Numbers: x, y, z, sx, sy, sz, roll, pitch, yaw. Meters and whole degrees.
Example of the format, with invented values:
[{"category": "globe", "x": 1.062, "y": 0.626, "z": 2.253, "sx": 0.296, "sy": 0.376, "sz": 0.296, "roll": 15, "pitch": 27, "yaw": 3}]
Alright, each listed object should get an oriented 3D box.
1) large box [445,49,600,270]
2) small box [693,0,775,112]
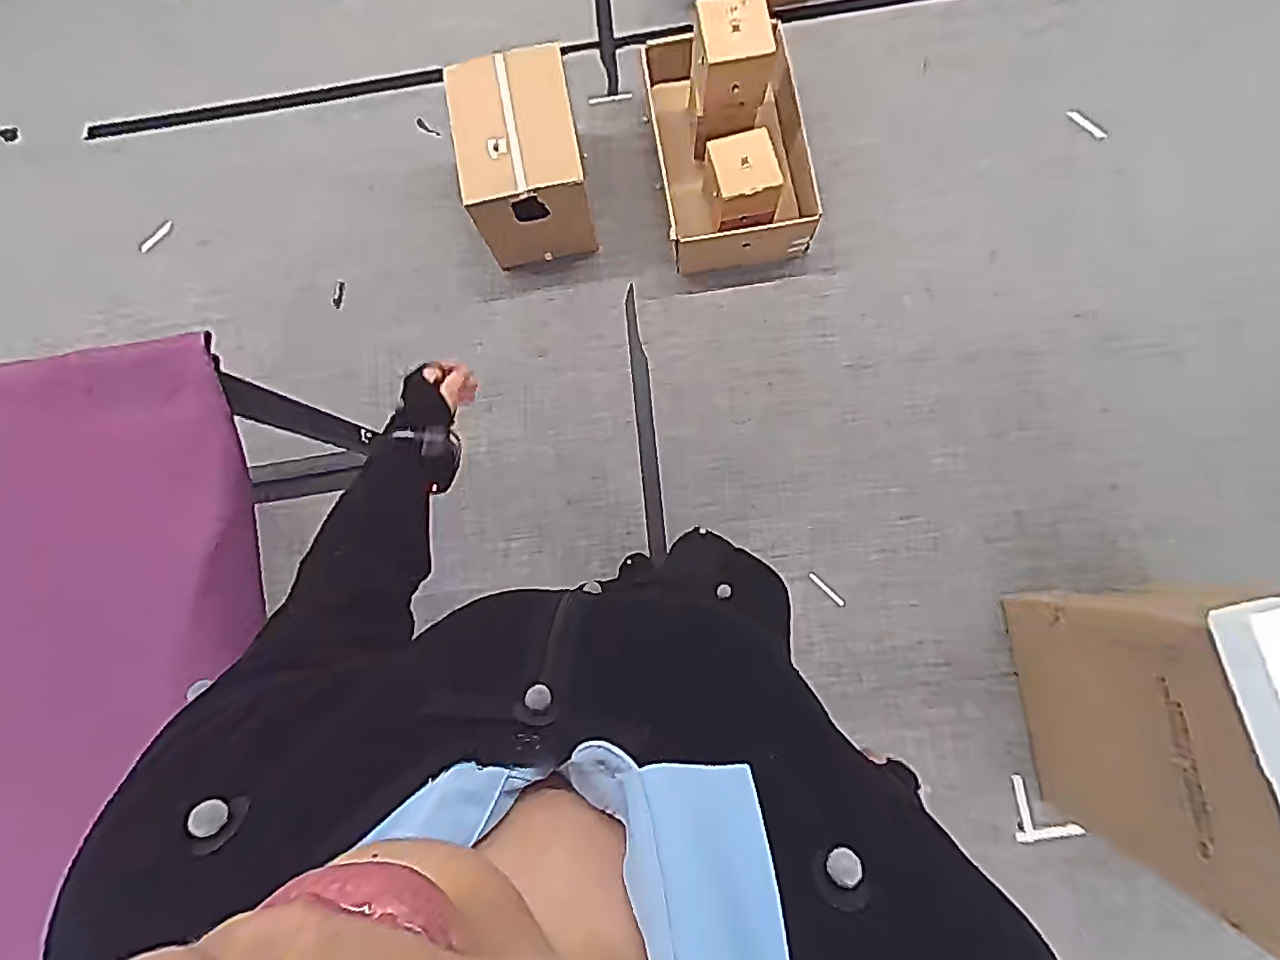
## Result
[{"category": "large box", "x": -0.312, "y": -0.875, "z": 1.518, "sx": 0.320, "sy": 0.320, "sz": 0.408, "roll": -11, "pitch": 83, "yaw": 2}, {"category": "small box", "x": 0.231, "y": -1.070, "z": 1.369, "sx": 0.168, "sy": 0.176, "sz": 0.179, "roll": -9, "pitch": 83, "yaw": 0}]
